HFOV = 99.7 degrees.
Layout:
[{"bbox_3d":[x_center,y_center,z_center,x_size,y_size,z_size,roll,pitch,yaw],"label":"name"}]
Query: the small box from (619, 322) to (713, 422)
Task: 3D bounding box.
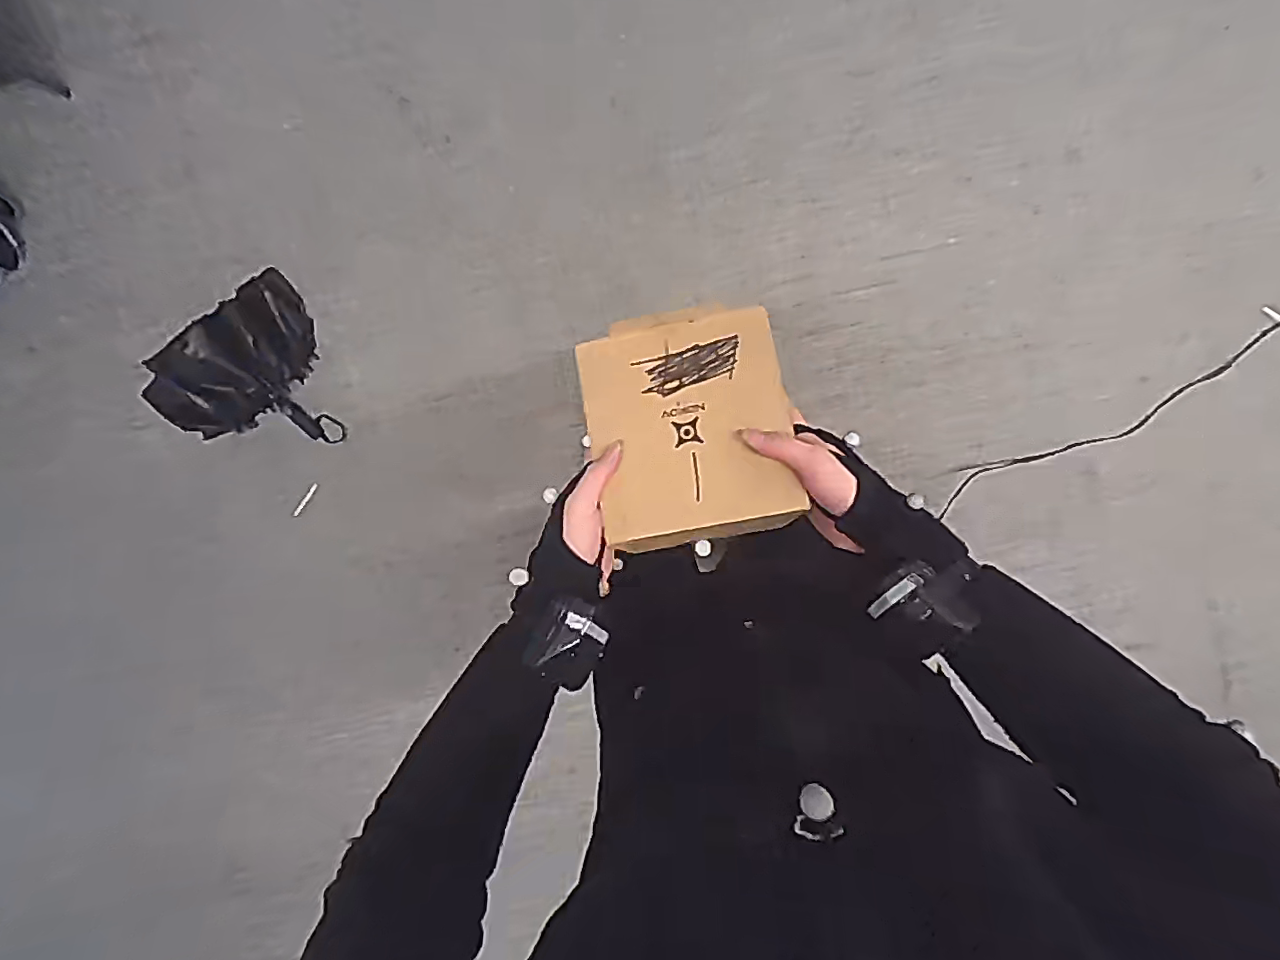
[{"bbox_3d":[0.055,-0.241,1.223,0.168,0.176,0.179,-17,101,4],"label":"small box"}]
